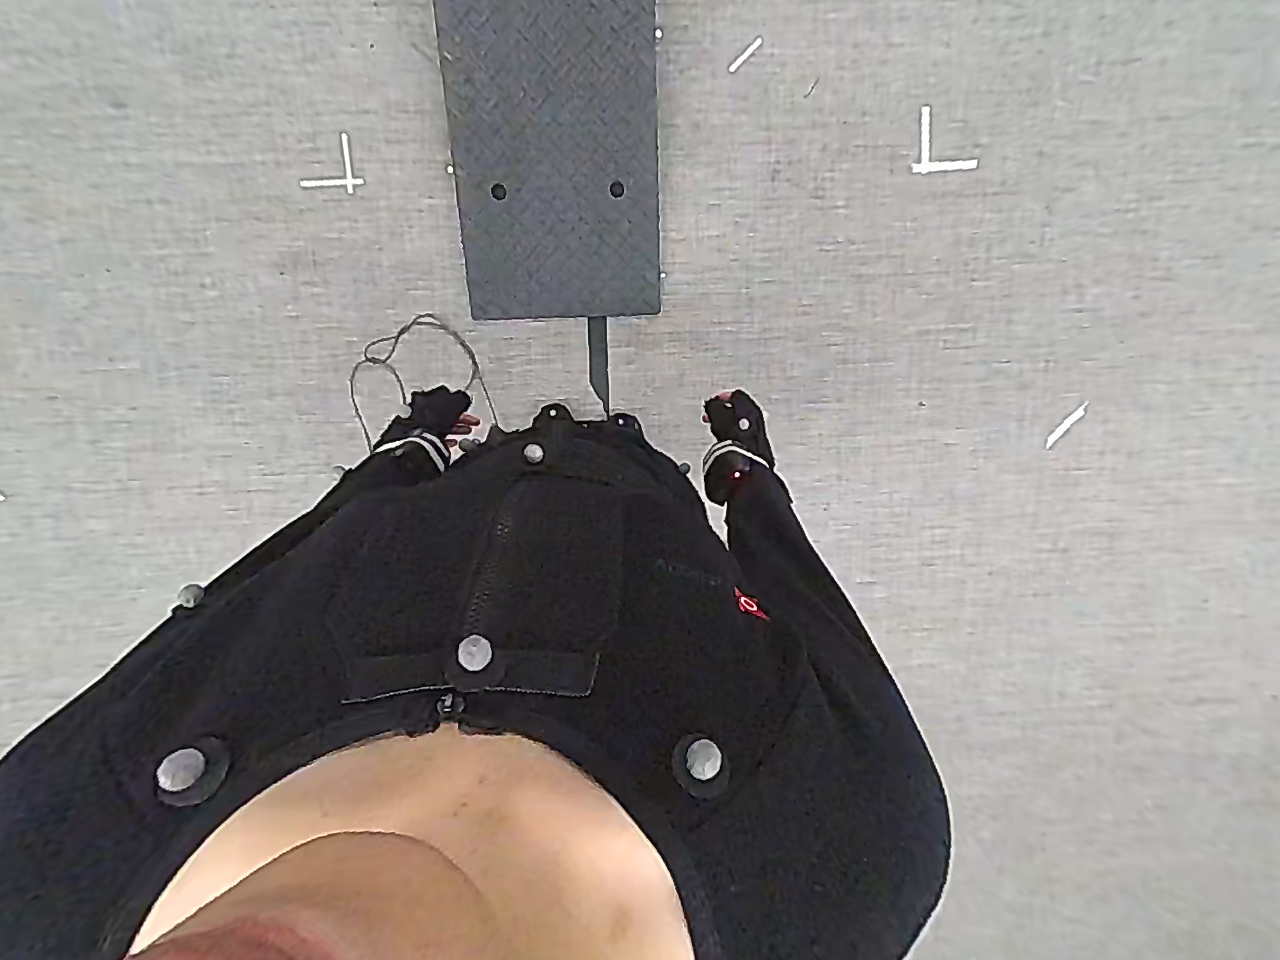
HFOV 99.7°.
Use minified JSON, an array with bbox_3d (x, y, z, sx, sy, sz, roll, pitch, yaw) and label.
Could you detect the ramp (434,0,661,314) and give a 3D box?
[{"bbox_3d":[-0.201,-0.912,1.244,0.509,0.206,0.991,-5,99,-3],"label":"ramp"}]
